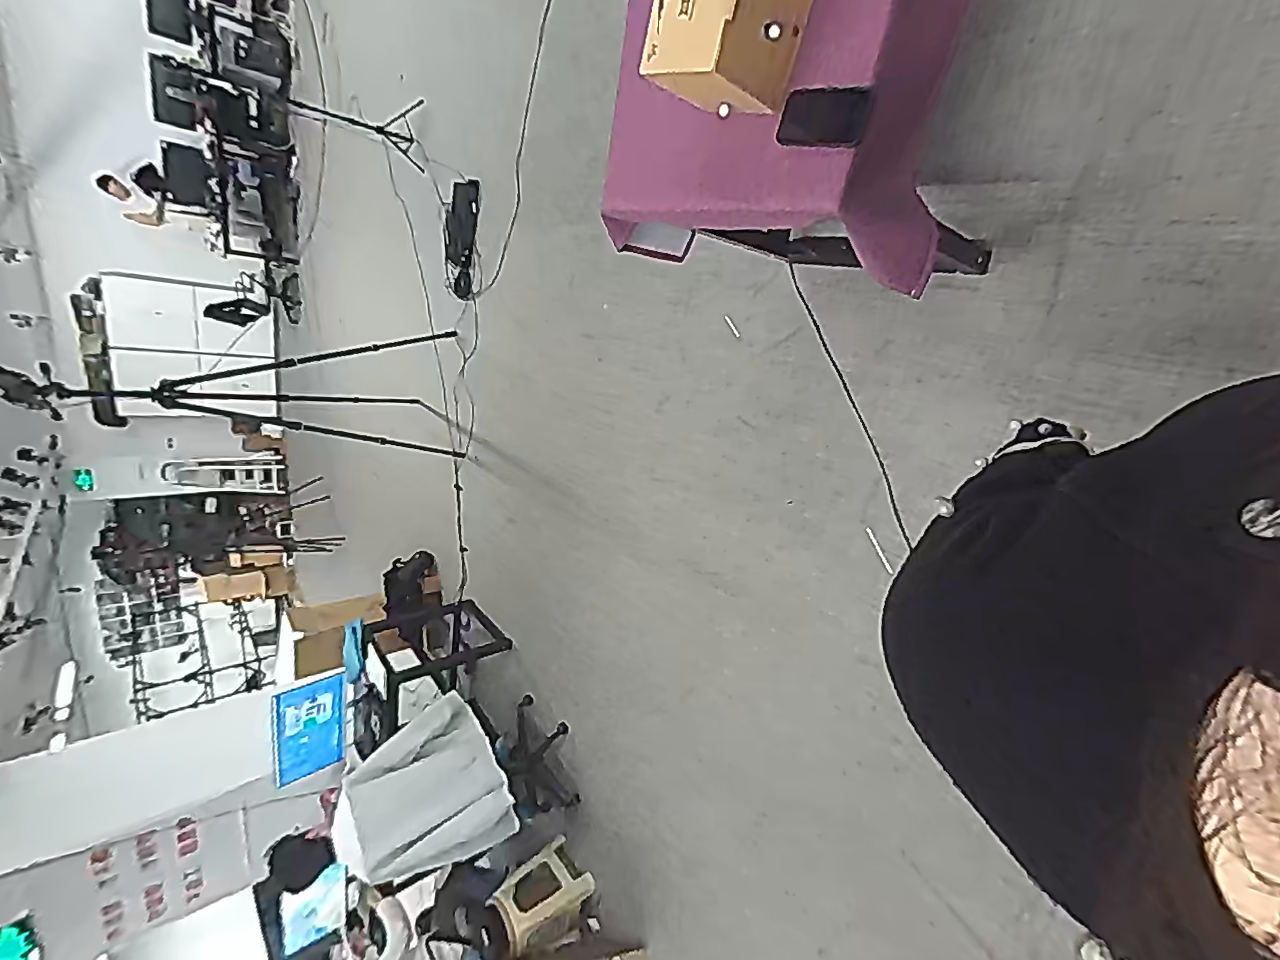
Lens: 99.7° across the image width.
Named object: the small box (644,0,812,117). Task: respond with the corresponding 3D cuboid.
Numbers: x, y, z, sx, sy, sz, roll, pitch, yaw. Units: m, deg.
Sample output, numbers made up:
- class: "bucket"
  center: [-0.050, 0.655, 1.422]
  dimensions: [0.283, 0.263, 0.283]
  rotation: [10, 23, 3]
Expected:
- class: "small box"
  center: [0.140, -0.700, 0.857]
  dimensions: [0.179, 0.176, 0.168]
  rotation: [37, 121, 39]
